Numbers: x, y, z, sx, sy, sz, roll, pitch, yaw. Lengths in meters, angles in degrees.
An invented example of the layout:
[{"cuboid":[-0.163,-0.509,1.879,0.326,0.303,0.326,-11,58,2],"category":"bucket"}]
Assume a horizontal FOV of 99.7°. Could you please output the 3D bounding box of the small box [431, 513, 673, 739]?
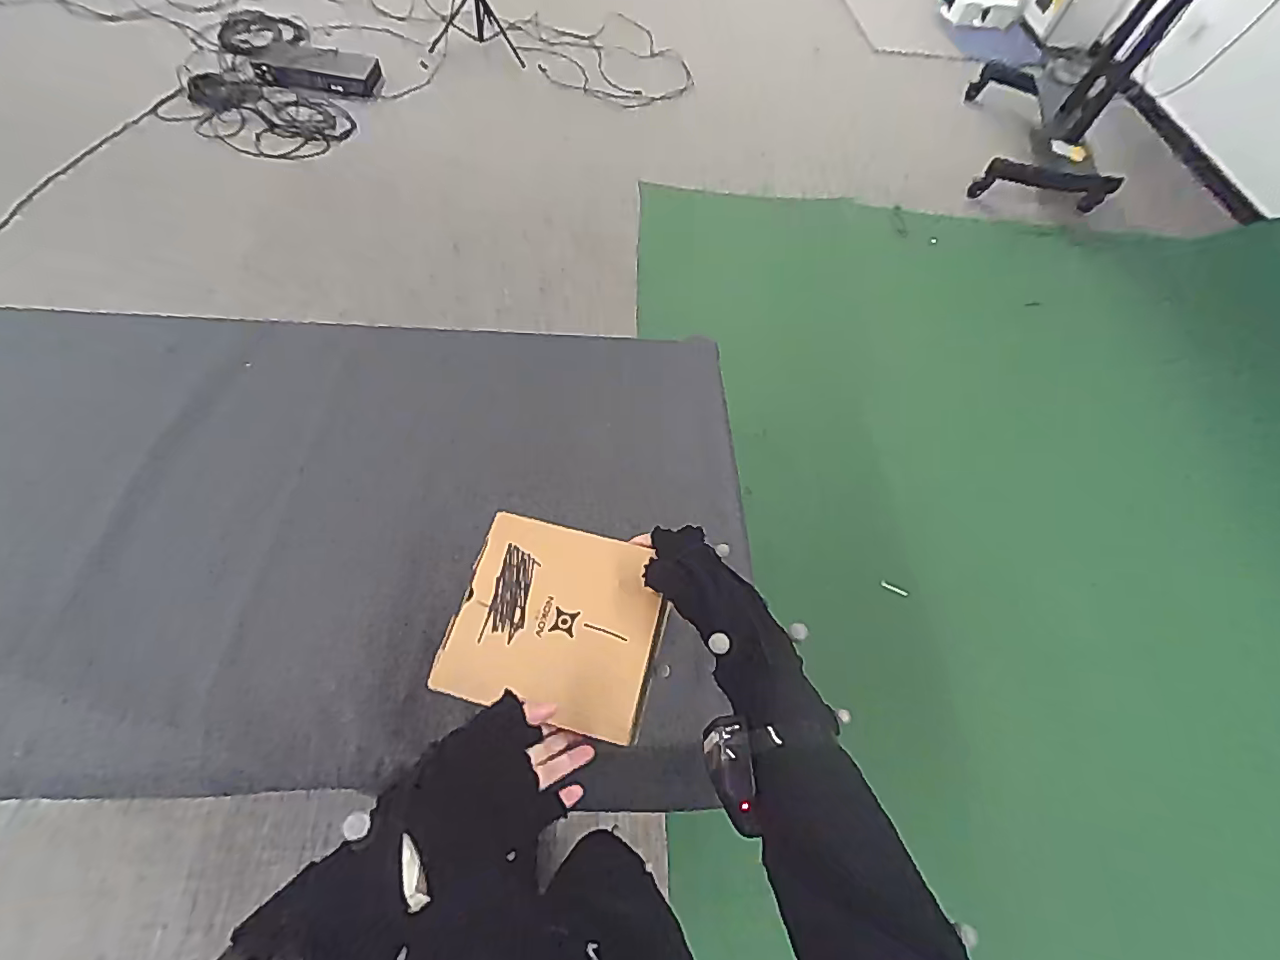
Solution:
[{"cuboid":[-0.070,0.153,0.544,0.179,0.176,0.168,12,66,7],"category":"small box"}]
